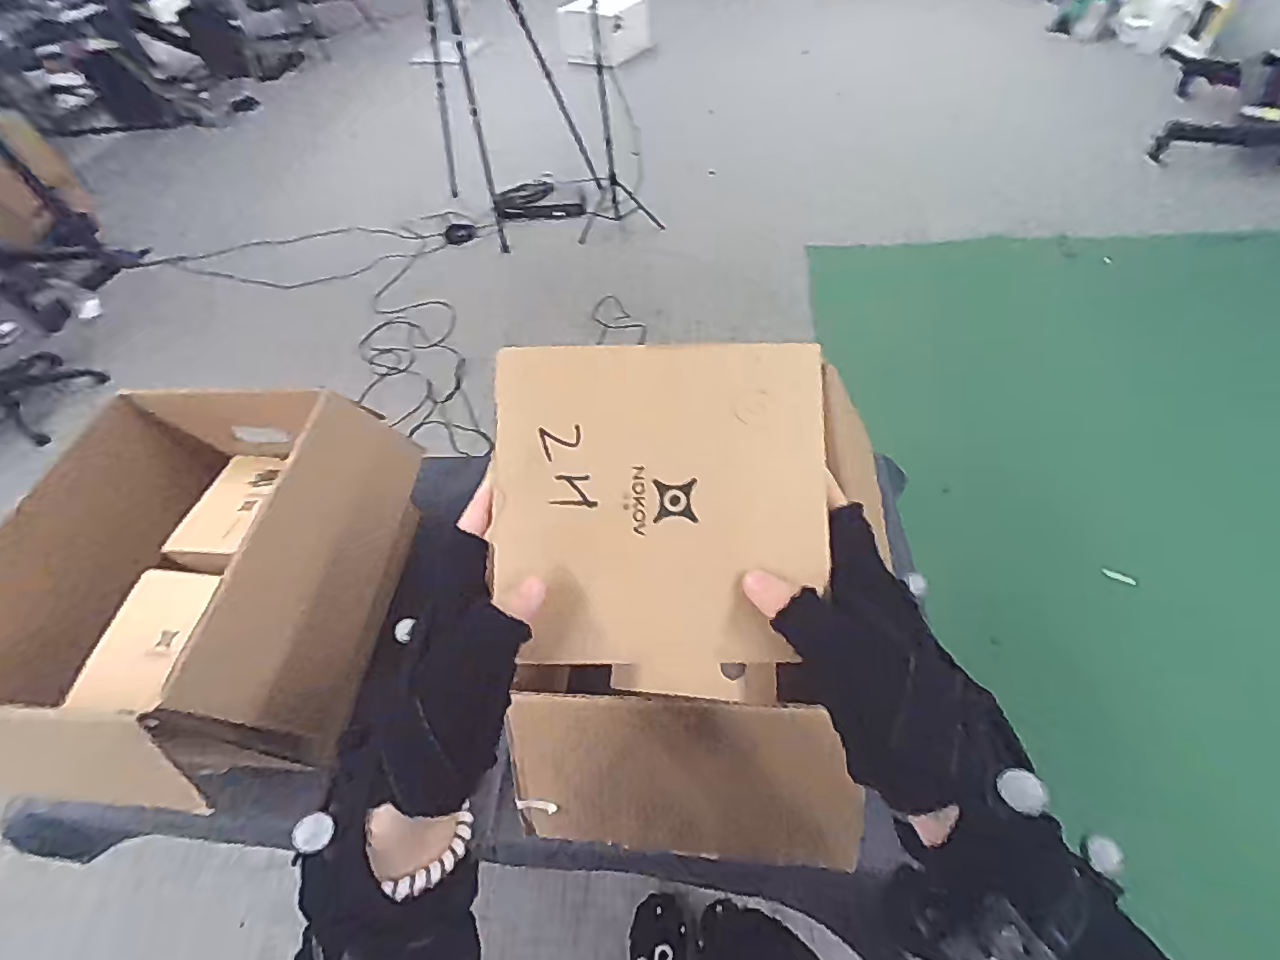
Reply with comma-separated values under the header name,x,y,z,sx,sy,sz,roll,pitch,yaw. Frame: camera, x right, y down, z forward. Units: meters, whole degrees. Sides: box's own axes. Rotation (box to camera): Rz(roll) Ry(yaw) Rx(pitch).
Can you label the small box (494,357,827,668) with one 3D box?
name,x,y,z,sx,sy,sz,roll,pitch,yaw
small box,0.011,0.024,0.368,0.179,0.176,0.168,0,83,0
